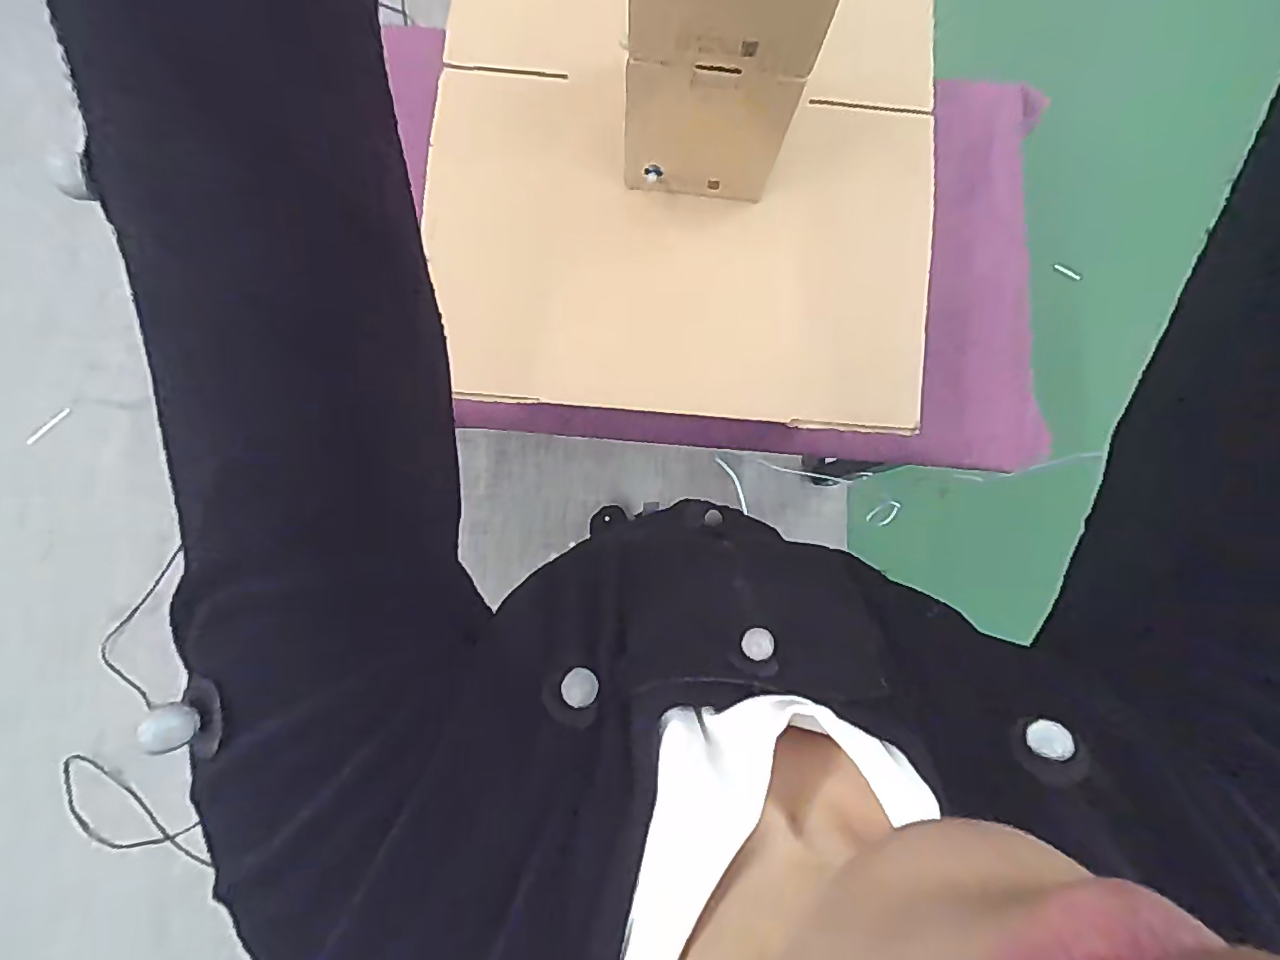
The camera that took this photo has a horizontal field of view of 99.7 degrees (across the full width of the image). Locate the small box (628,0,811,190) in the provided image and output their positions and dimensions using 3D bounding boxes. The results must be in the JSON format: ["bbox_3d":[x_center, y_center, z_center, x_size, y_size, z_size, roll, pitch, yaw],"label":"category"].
[{"bbox_3d":[0.073,-0.437,0.570,0.168,0.176,0.179,2,83,-2],"label":"small box"}]
